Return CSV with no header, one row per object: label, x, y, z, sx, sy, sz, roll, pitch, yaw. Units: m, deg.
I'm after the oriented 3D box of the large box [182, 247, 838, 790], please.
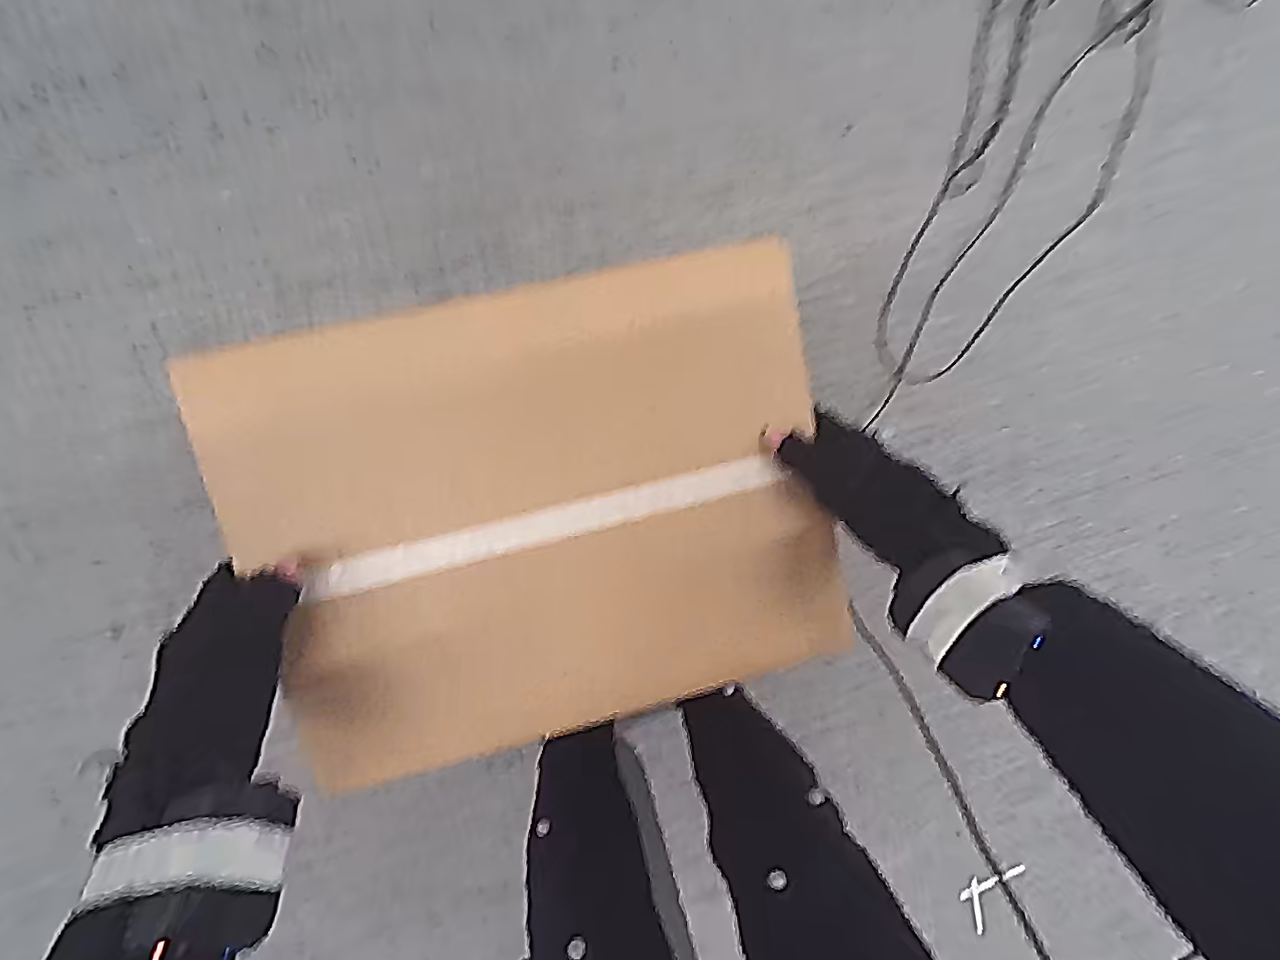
large box,-0.085,0.009,0.528,0.408,0.320,0.320,-13,98,-6
